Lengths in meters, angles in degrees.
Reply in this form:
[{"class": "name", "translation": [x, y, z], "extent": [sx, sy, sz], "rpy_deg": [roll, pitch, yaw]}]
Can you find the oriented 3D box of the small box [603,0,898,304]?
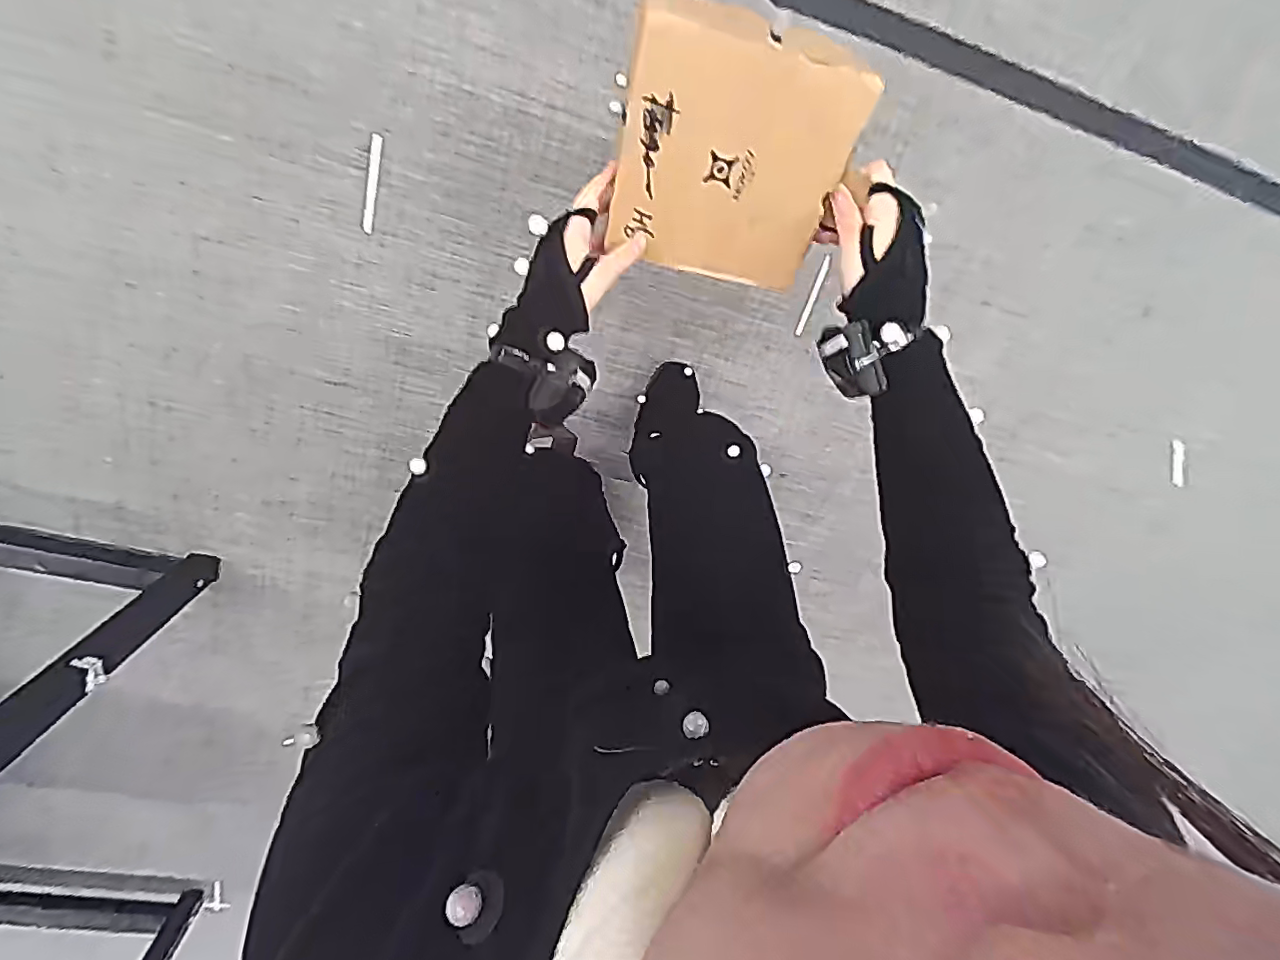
[{"class": "small box", "translation": [0.071, -0.279, 0.456], "extent": [0.179, 0.176, 0.168], "rpy_deg": [9, 136, -11]}]
